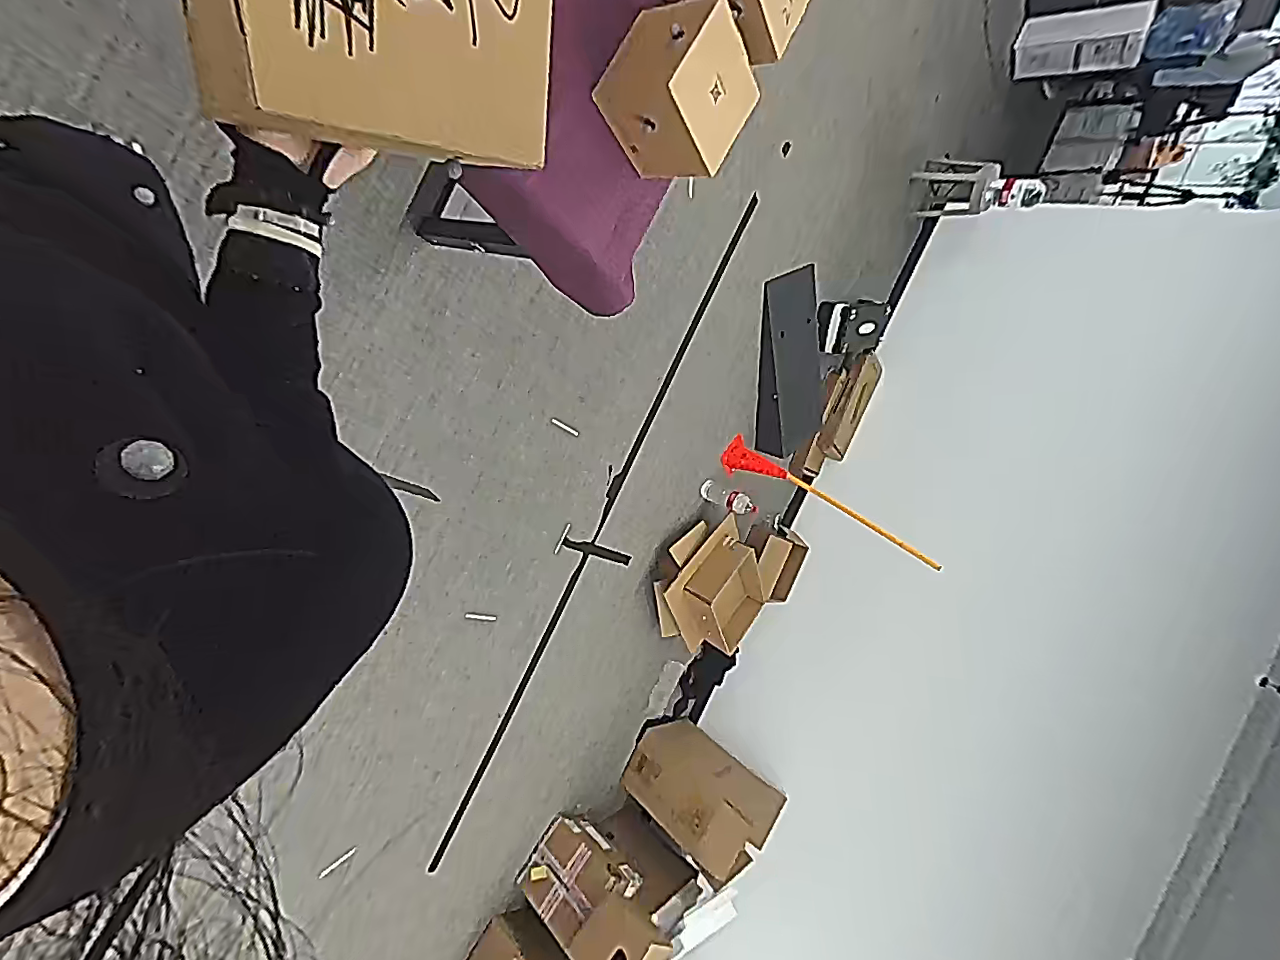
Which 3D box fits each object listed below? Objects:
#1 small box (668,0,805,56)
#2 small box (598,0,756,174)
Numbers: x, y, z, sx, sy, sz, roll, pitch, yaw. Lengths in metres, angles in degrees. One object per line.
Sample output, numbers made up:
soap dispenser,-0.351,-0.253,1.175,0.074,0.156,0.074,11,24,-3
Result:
small box,0.159,-0.828,0.885,0.179,0.176,0.168,30,87,-54
small box,0.056,-0.630,0.883,0.168,0.176,0.179,36,80,-52
